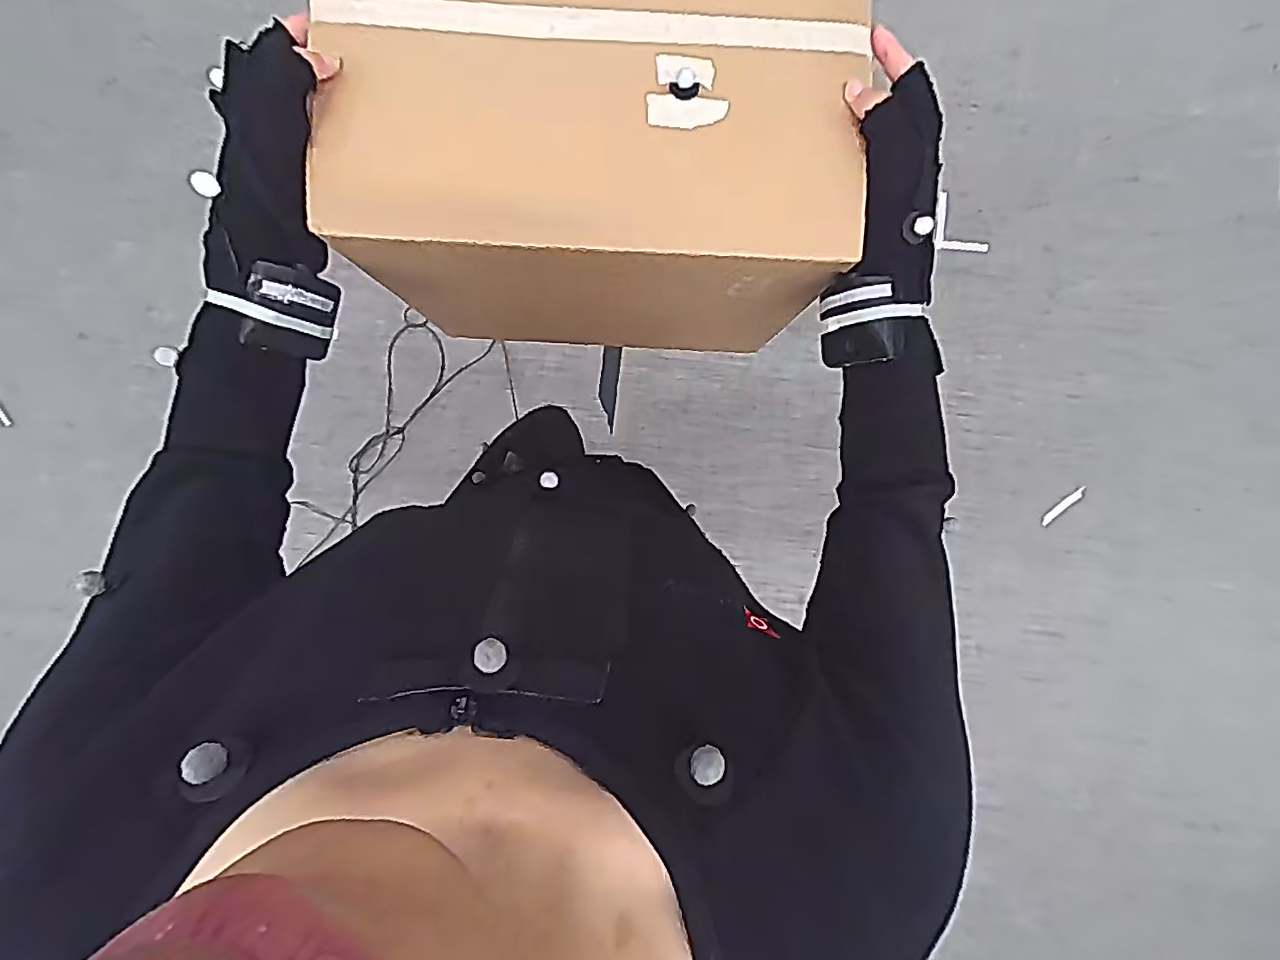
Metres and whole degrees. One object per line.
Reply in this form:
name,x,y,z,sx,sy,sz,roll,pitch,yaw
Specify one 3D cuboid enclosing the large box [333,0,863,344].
large box,-0.035,-0.333,0.558,0.408,0.320,0.320,2,91,-2
